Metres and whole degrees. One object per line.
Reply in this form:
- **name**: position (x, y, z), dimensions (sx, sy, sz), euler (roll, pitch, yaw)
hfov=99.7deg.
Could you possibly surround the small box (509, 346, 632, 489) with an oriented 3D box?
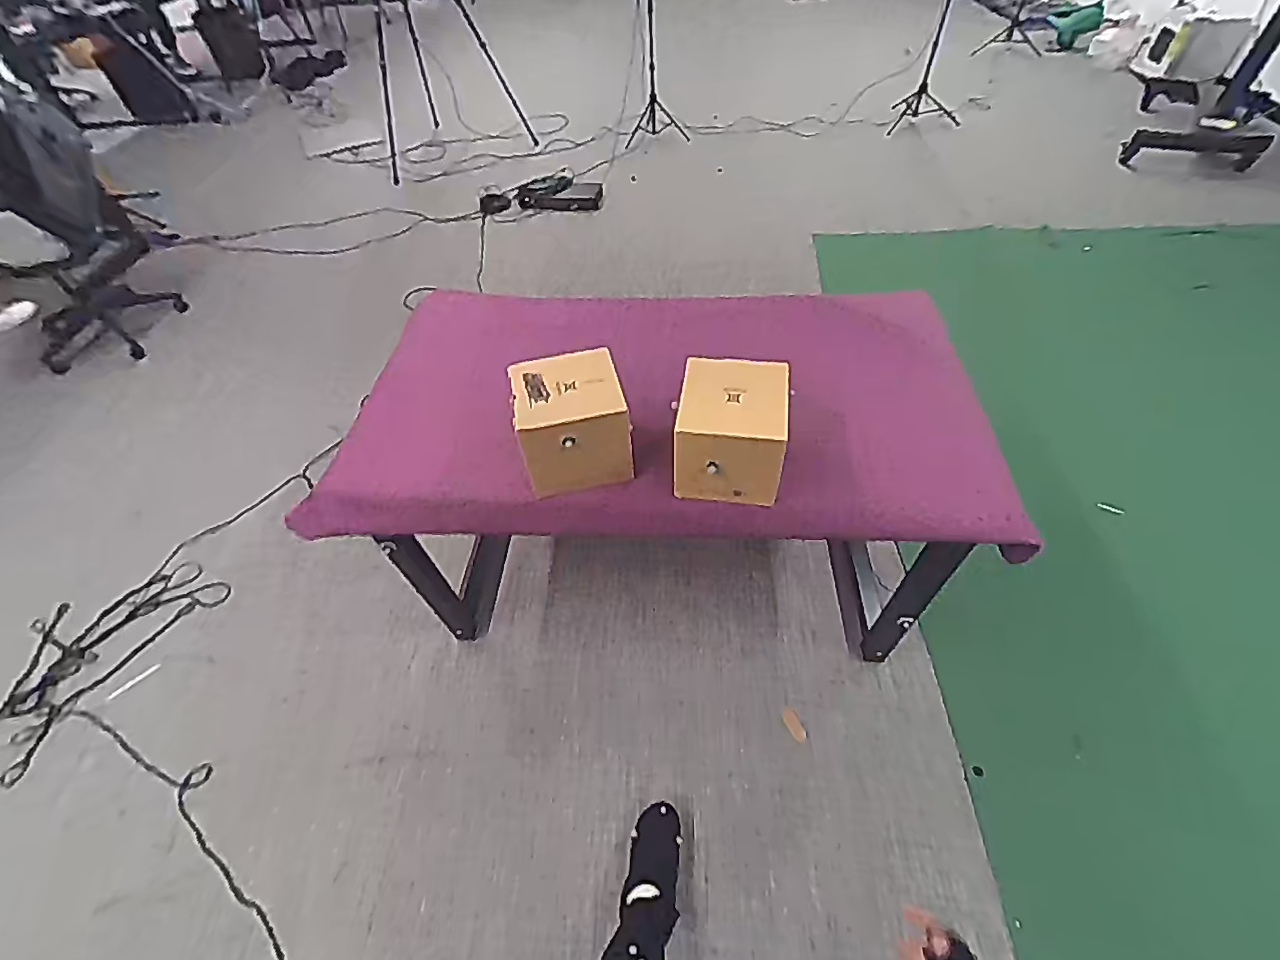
- **small box**: position (-0.117, -0.104, 0.933), dimensions (0.179, 0.176, 0.168), euler (-11, 50, -6)

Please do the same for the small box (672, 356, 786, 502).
- **small box**: position (0.148, -0.083, 0.901), dimensions (0.168, 0.176, 0.179), euler (6, 51, 9)
